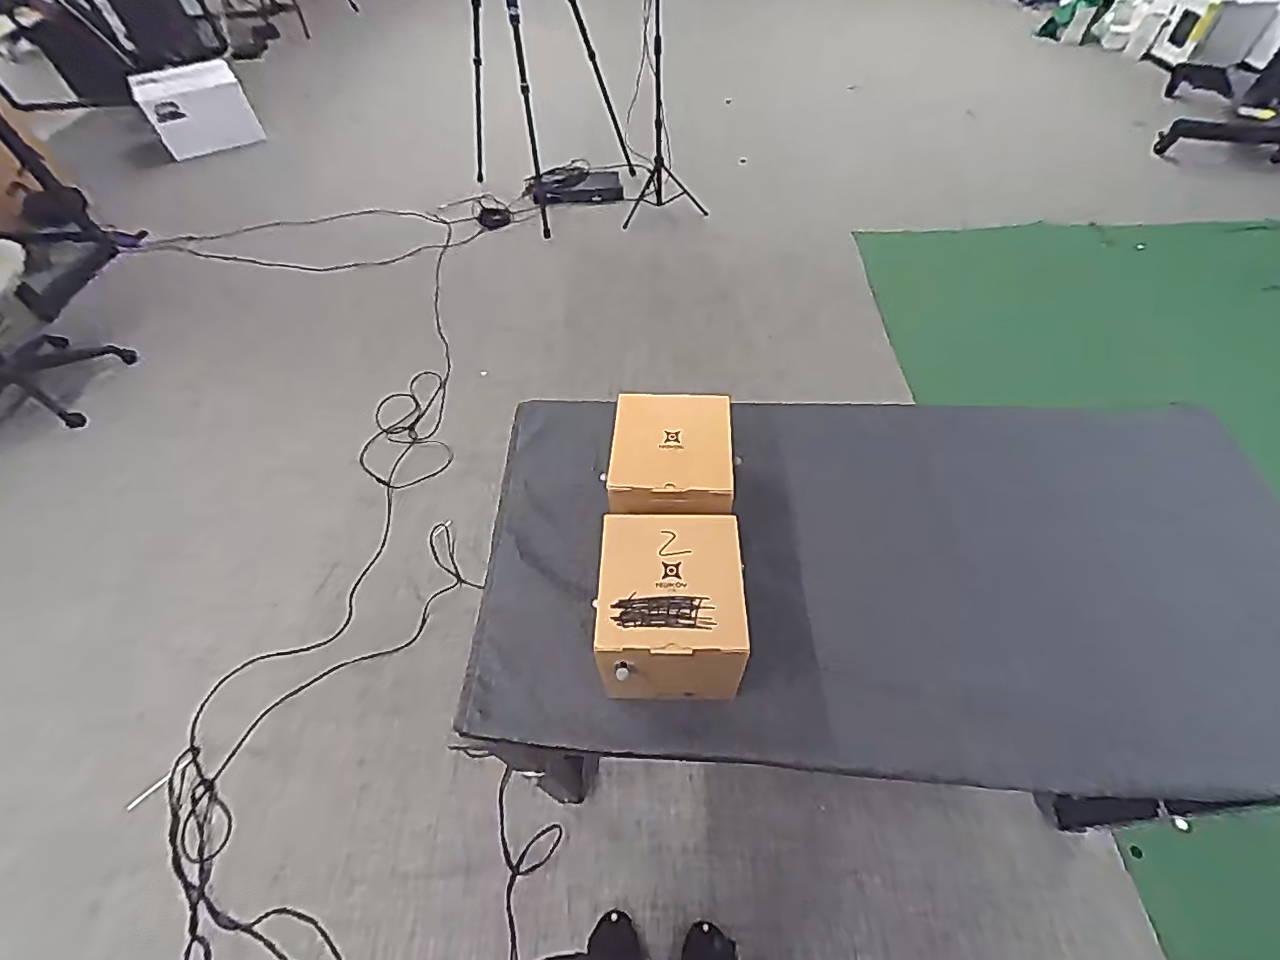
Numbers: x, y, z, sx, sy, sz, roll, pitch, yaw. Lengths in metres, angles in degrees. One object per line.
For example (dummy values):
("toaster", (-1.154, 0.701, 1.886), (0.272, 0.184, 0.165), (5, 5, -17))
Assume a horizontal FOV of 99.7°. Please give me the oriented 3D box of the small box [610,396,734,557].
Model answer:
("small box", (0.048, -0.003, 0.812), (0.168, 0.176, 0.179), (2, 54, 4))
